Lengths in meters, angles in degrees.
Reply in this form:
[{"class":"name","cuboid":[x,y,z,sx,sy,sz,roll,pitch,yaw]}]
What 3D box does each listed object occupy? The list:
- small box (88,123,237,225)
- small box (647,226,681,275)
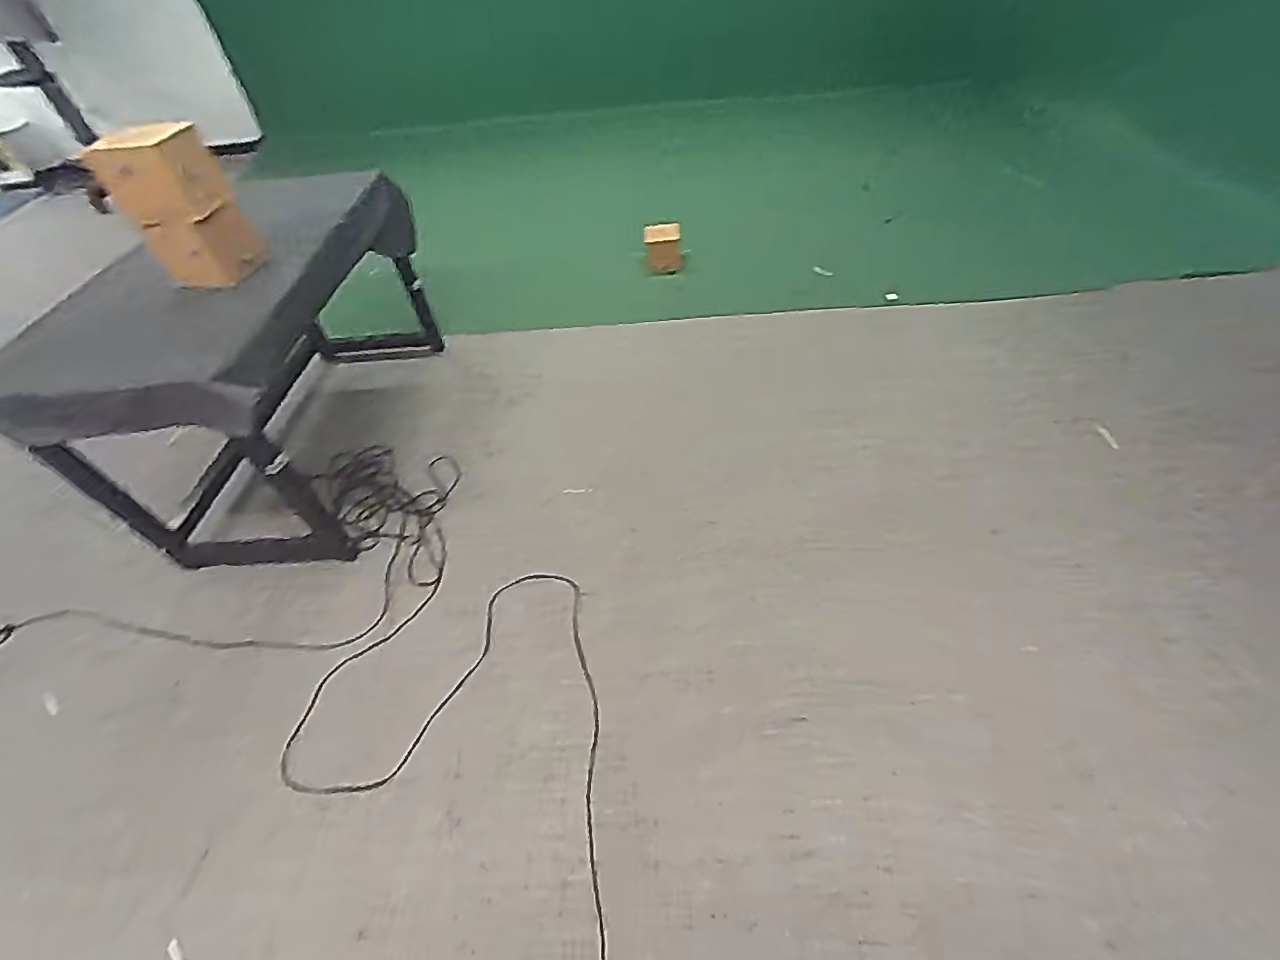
[{"class":"small box","cuboid":[-1.136,-0.736,1.307,0.179,0.176,0.168,-1,49,5]},{"class":"small box","cuboid":[0.124,-1.169,2.755,0.168,0.176,0.179,-4,49,4]}]
